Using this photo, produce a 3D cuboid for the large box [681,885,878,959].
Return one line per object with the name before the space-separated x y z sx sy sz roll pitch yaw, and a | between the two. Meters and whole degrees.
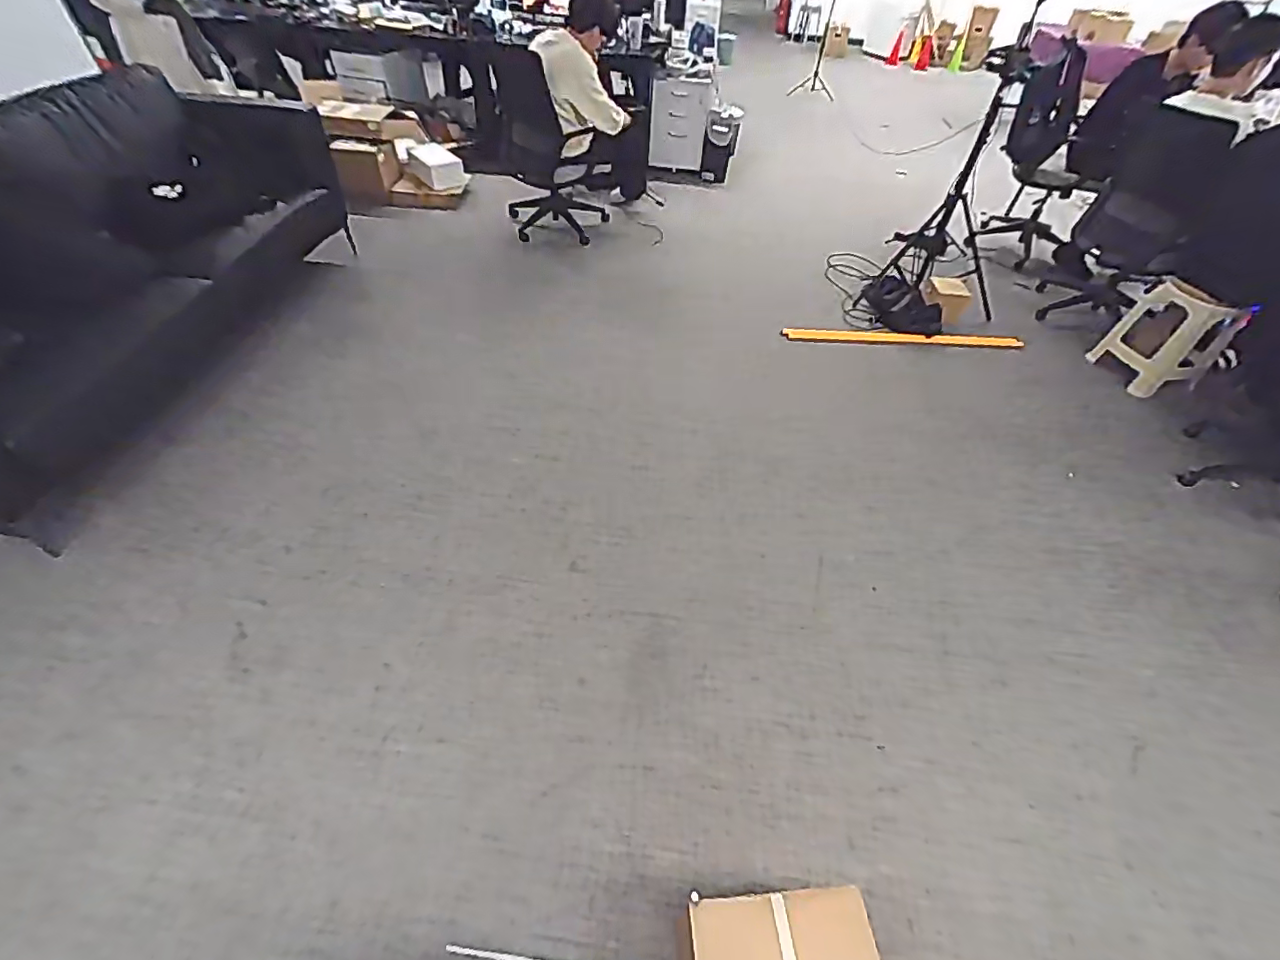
large box | 0.259 0.996 0.951 0.320 0.320 0.408 -2 47 -5
